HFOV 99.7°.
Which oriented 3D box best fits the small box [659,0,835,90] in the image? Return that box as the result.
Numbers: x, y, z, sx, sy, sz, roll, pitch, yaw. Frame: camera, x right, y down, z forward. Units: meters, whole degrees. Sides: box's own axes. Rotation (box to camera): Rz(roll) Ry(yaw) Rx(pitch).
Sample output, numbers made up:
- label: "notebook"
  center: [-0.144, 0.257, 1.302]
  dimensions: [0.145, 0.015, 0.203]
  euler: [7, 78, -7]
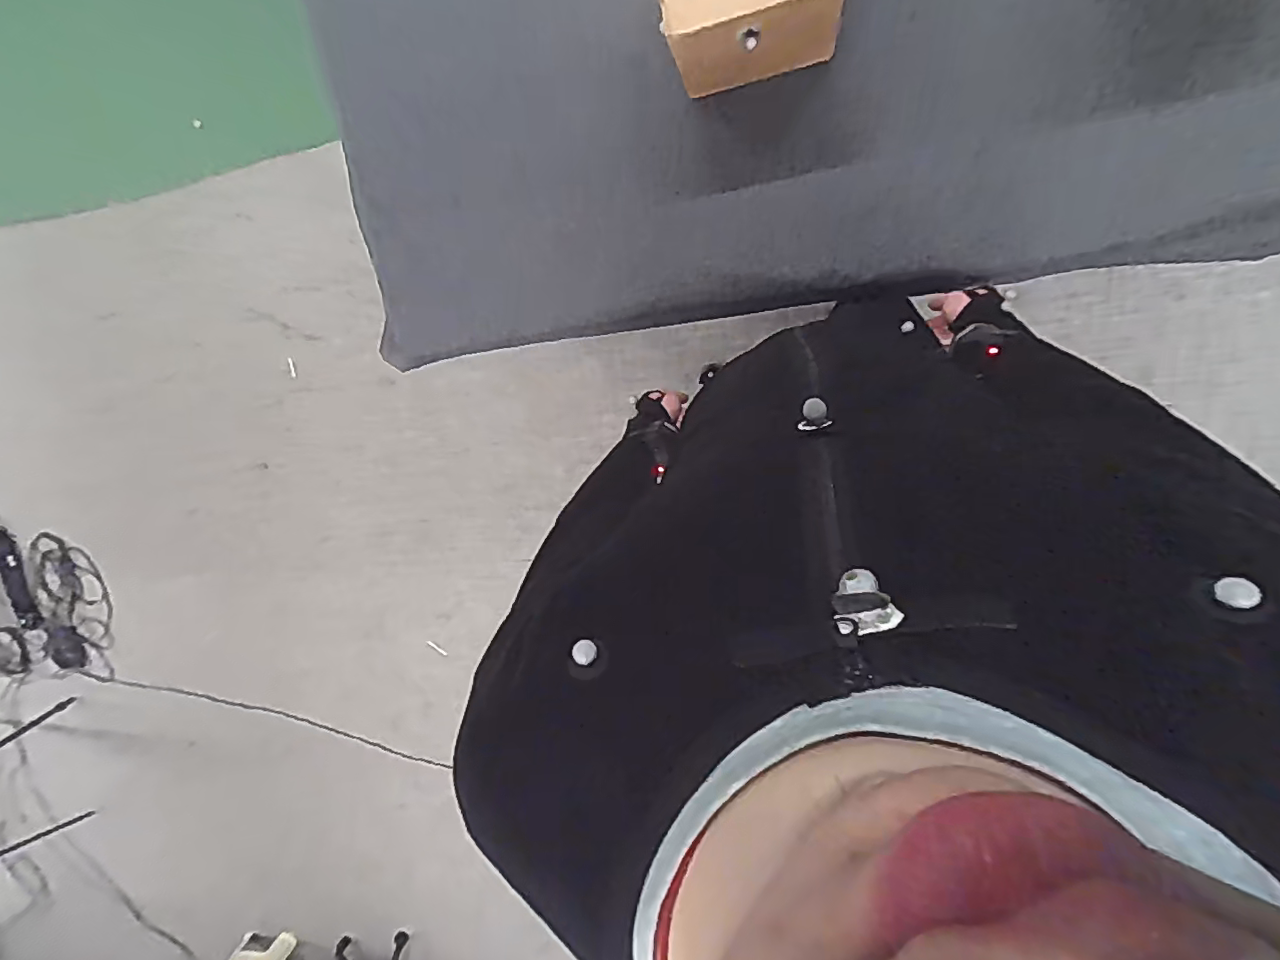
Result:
- label: "small box"
  center: [0.113, -0.555, 0.577]
  dimensions: [0.179, 0.176, 0.168]
  euler: [-6, 106, 15]
